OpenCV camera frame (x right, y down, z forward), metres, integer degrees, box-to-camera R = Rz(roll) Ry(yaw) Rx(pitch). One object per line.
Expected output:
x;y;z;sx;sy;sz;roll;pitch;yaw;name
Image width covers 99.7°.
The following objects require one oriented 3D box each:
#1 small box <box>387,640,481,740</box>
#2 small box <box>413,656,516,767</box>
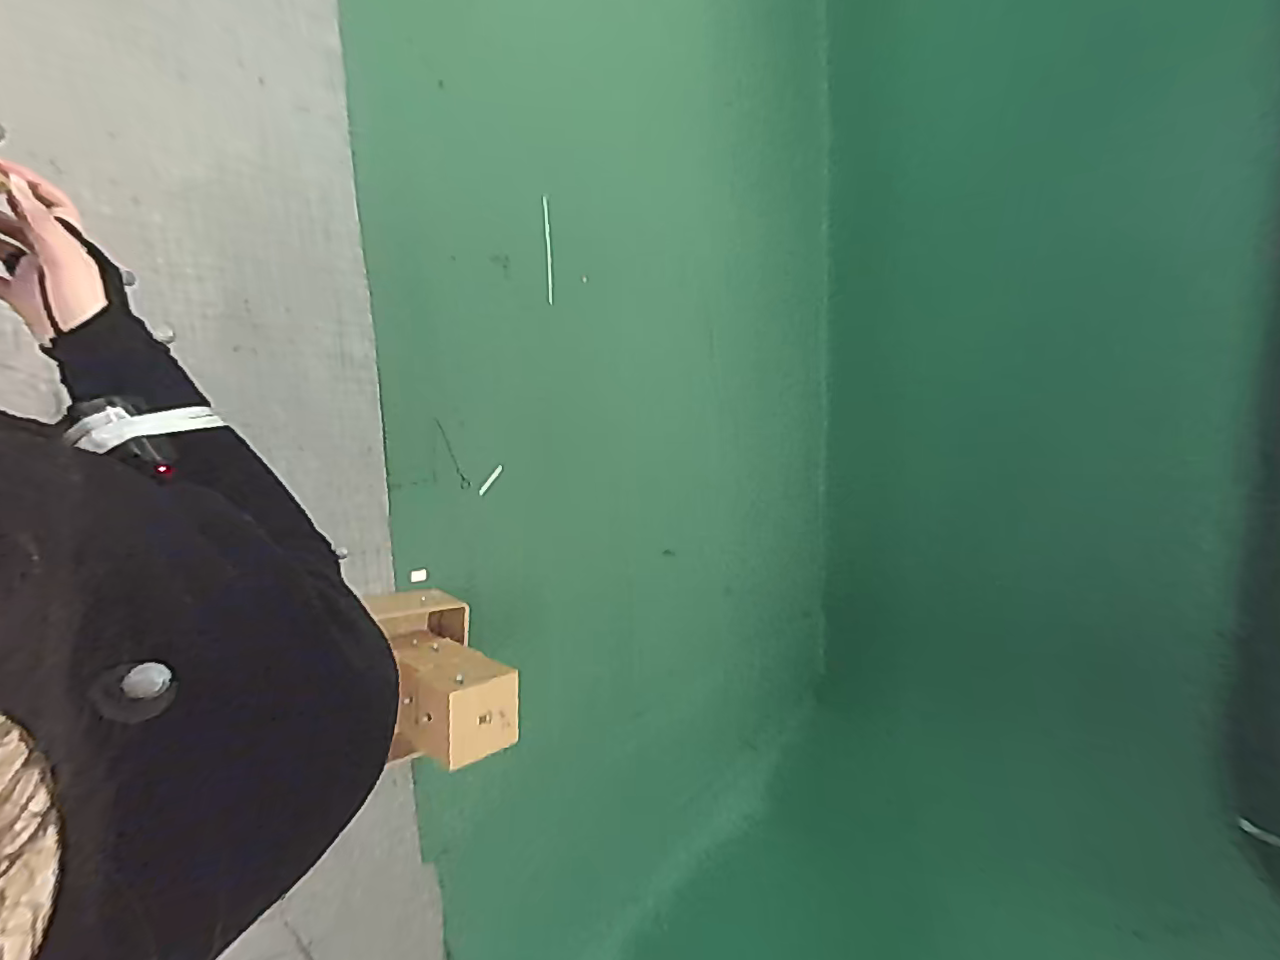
-0.521;0.521;1.363;0.168;0.176;0.179;1;90;-49;small box
-0.406;0.521;1.245;0.179;0.176;0.168;-1;92;-49;small box
